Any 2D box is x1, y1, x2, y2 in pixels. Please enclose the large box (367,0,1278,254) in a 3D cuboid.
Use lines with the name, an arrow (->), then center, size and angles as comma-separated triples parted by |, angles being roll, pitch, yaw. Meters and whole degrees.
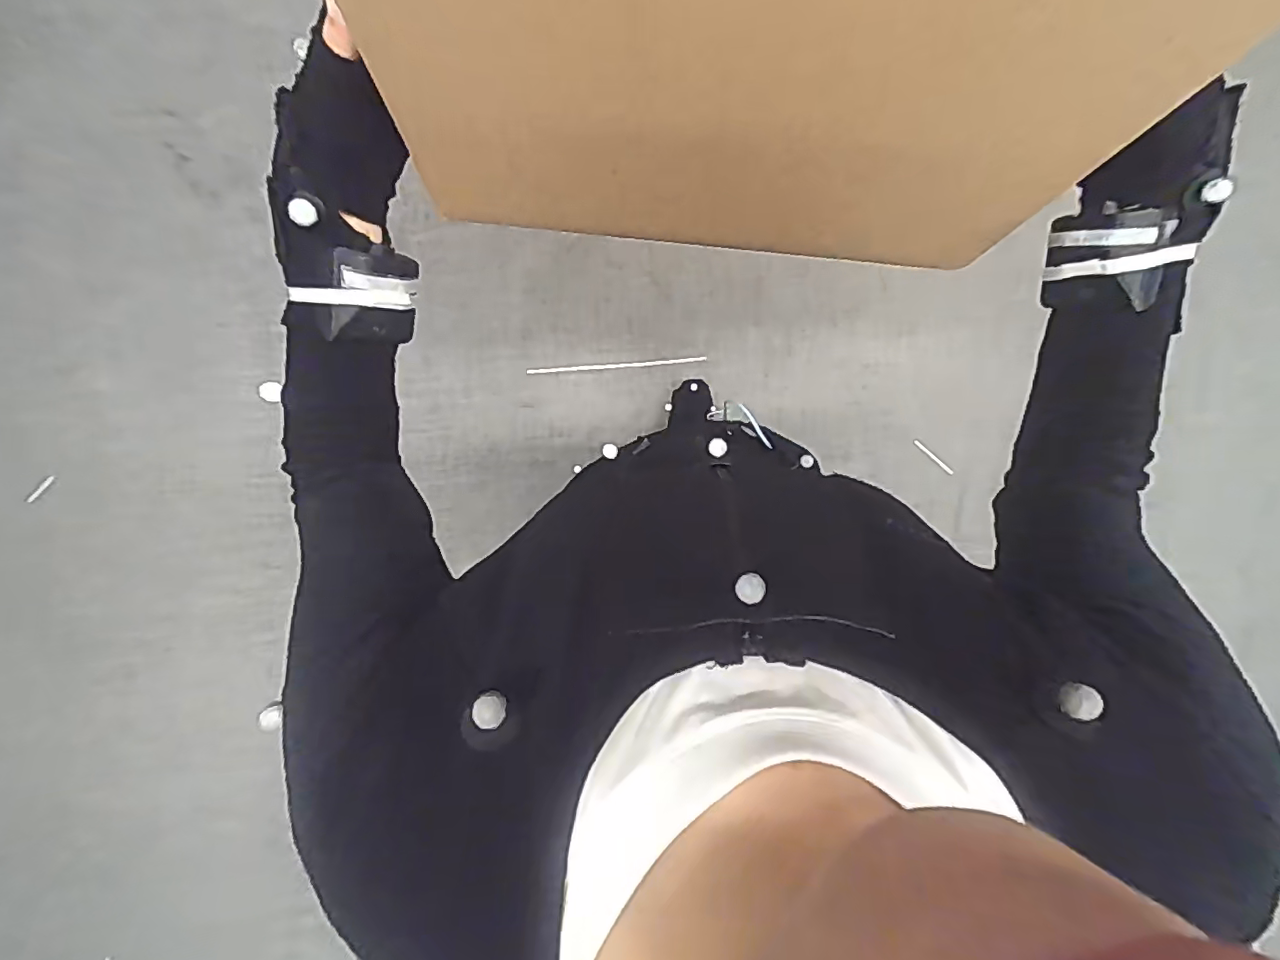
large box -> 0.076, -0.352, 0.284 | 0.408, 0.320, 0.320 | 4, 84, -5
